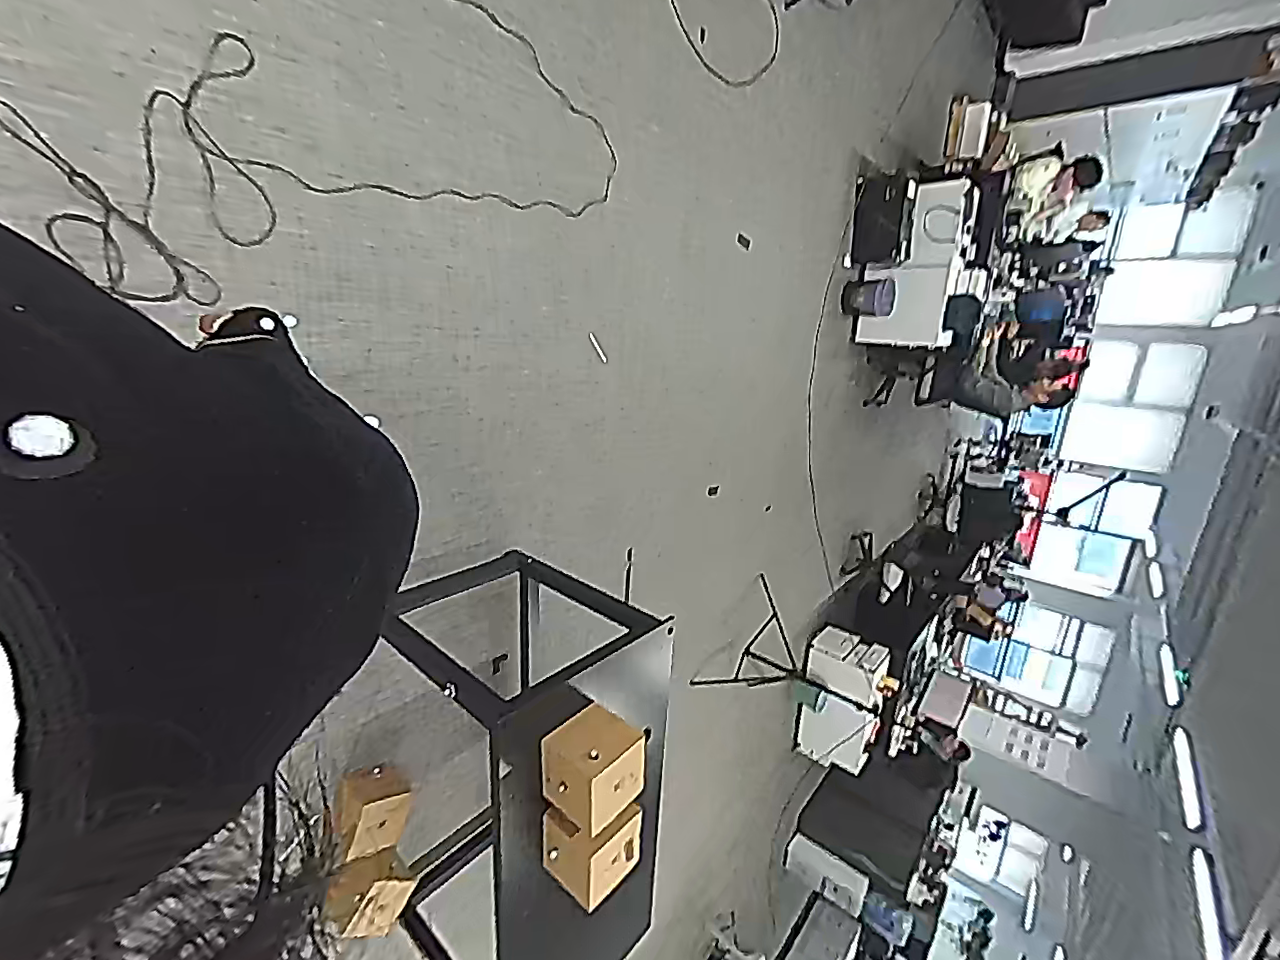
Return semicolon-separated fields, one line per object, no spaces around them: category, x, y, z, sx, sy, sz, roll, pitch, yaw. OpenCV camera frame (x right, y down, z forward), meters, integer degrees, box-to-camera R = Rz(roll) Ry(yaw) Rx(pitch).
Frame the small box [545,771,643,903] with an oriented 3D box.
small box;-0.114;0.864;1.333;0.179;0.176;0.168;-16;114;-47

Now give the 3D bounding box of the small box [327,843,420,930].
small box;-0.861;1.304;1.746;0.168;0.176;0.179;-60;139;-18

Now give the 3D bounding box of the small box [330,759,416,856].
small box;-0.835;1.009;1.682;0.168;0.176;0.179;16;89;-53
